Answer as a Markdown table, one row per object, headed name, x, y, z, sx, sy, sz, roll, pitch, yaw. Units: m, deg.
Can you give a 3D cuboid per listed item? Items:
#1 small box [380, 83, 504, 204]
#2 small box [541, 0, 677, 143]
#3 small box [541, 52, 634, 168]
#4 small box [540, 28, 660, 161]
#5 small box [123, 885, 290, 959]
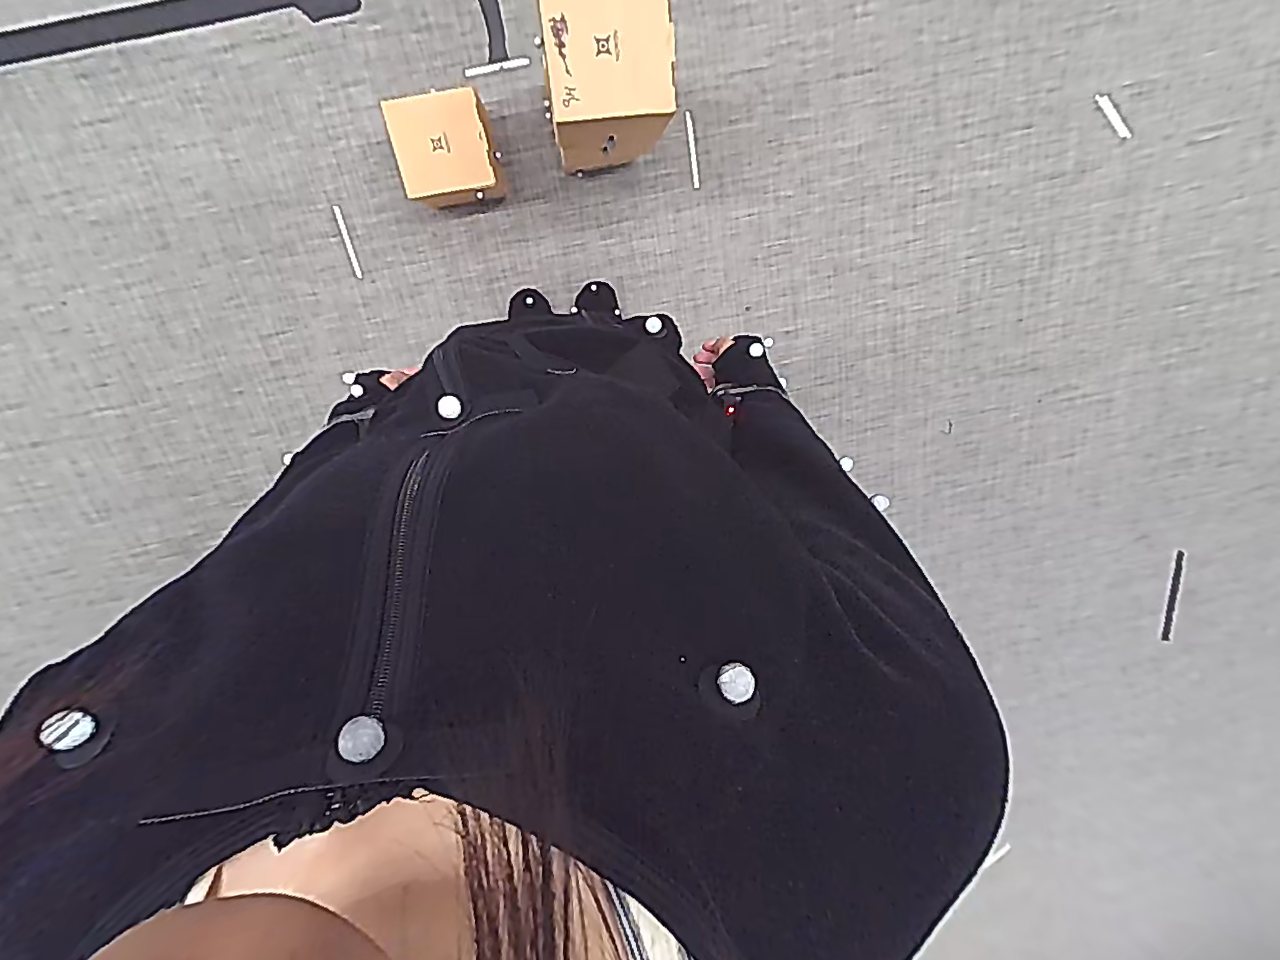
| name | x | y | z | sx | sy | sz | roll | pitch | yaw |
| --- | --- | --- | --- | --- | --- | --- | --- | --- | --- |
| small box | -0.389 | -0.669 | 1.095 | 0.179 | 0.176 | 0.168 | -11 | 112 | -3 |
| small box | -0.050 | -0.614 | 0.801 | 0.179 | 0.176 | 0.168 | -7 | 112 | -5 |
| small box | -0.096 | -0.751 | 1.097 | 0.168 | 0.176 | 0.179 | -12 | 112 | -3 |
| small box | -0.070 | -0.676 | 0.952 | 0.179 | 0.176 | 0.168 | -10 | 113 | -4 |
| small box | -0.680 | 0.768 | 0.831 | 0.179 | 0.176 | 0.168 | -12 | 111 | -1 |
